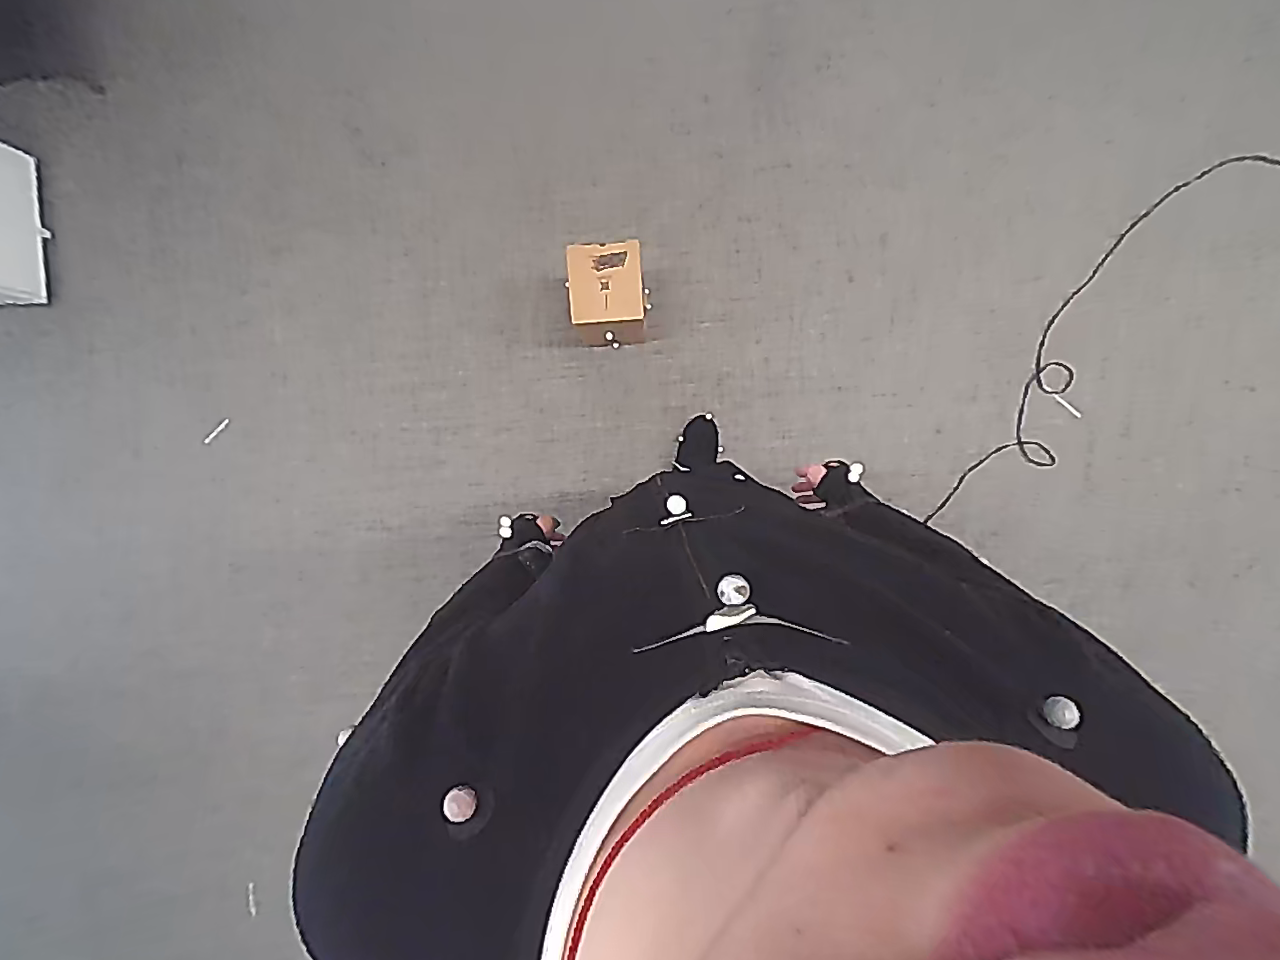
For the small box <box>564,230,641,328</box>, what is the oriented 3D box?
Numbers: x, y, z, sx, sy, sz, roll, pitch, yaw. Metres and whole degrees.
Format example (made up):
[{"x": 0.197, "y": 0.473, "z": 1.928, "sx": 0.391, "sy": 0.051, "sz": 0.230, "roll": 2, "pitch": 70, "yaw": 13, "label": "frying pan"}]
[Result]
[{"x": -0.084, "y": -0.471, "z": 1.285, "sx": 0.168, "sy": 0.176, "sz": 0.179, "roll": -3, "pitch": 94, "yaw": 2, "label": "small box"}]

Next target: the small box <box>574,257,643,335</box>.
[{"x": -0.083, "y": -0.489, "z": 1.450, "sx": 0.179, "sy": 0.176, "sz": 0.168, "roll": -2, "pitch": 93, "yaw": 1, "label": "small box"}]
